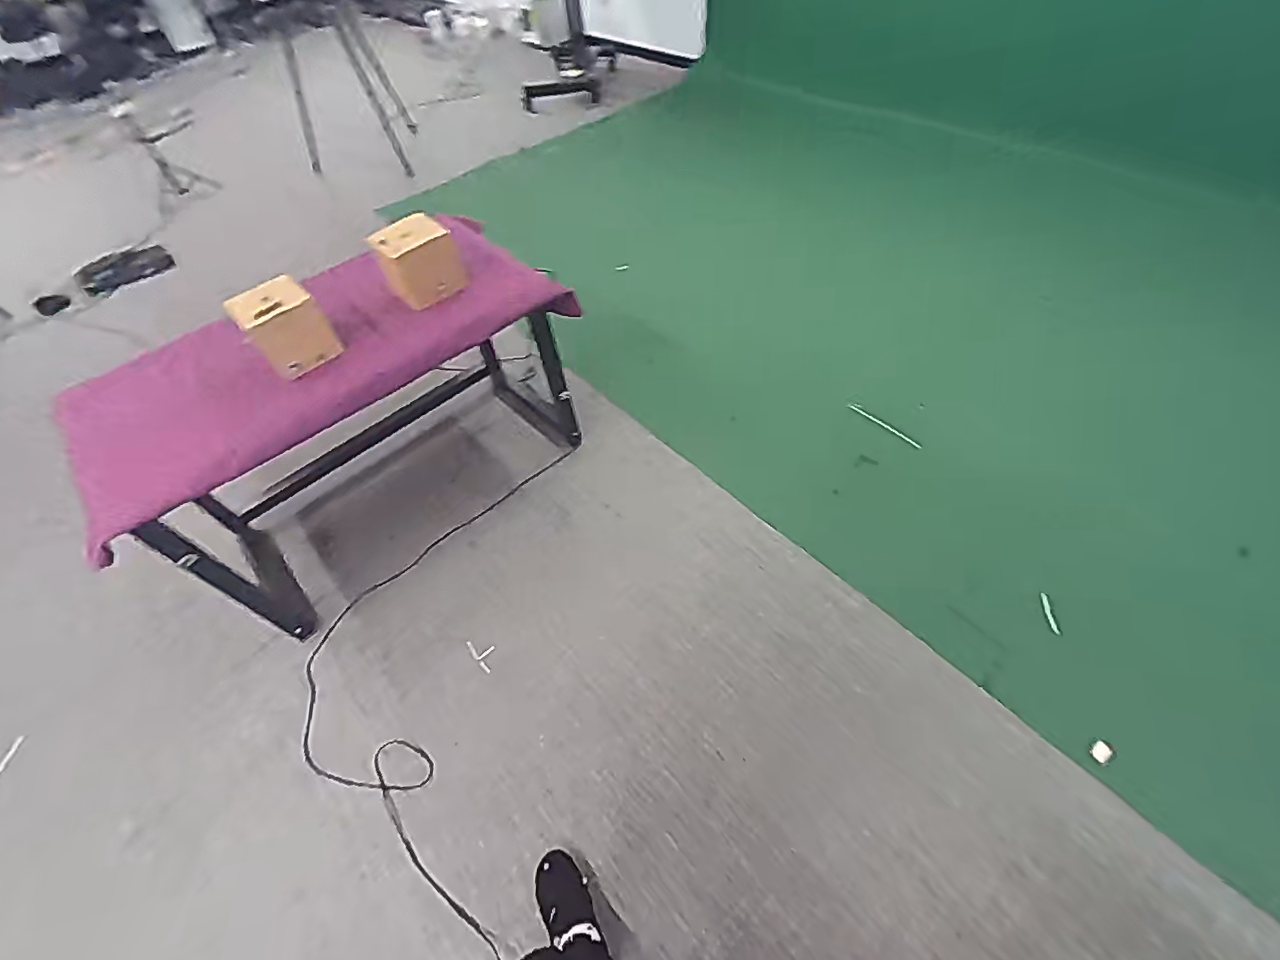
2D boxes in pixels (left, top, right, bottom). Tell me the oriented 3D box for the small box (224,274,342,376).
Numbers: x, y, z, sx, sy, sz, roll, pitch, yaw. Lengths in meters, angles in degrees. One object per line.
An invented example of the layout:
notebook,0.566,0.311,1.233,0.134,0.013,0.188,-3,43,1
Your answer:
small box,-0.910,-0.393,1.392,0.168,0.176,0.179,-38,57,-22

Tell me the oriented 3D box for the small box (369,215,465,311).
small box,-0.621,-0.615,1.535,0.179,0.176,0.168,-37,58,-21
